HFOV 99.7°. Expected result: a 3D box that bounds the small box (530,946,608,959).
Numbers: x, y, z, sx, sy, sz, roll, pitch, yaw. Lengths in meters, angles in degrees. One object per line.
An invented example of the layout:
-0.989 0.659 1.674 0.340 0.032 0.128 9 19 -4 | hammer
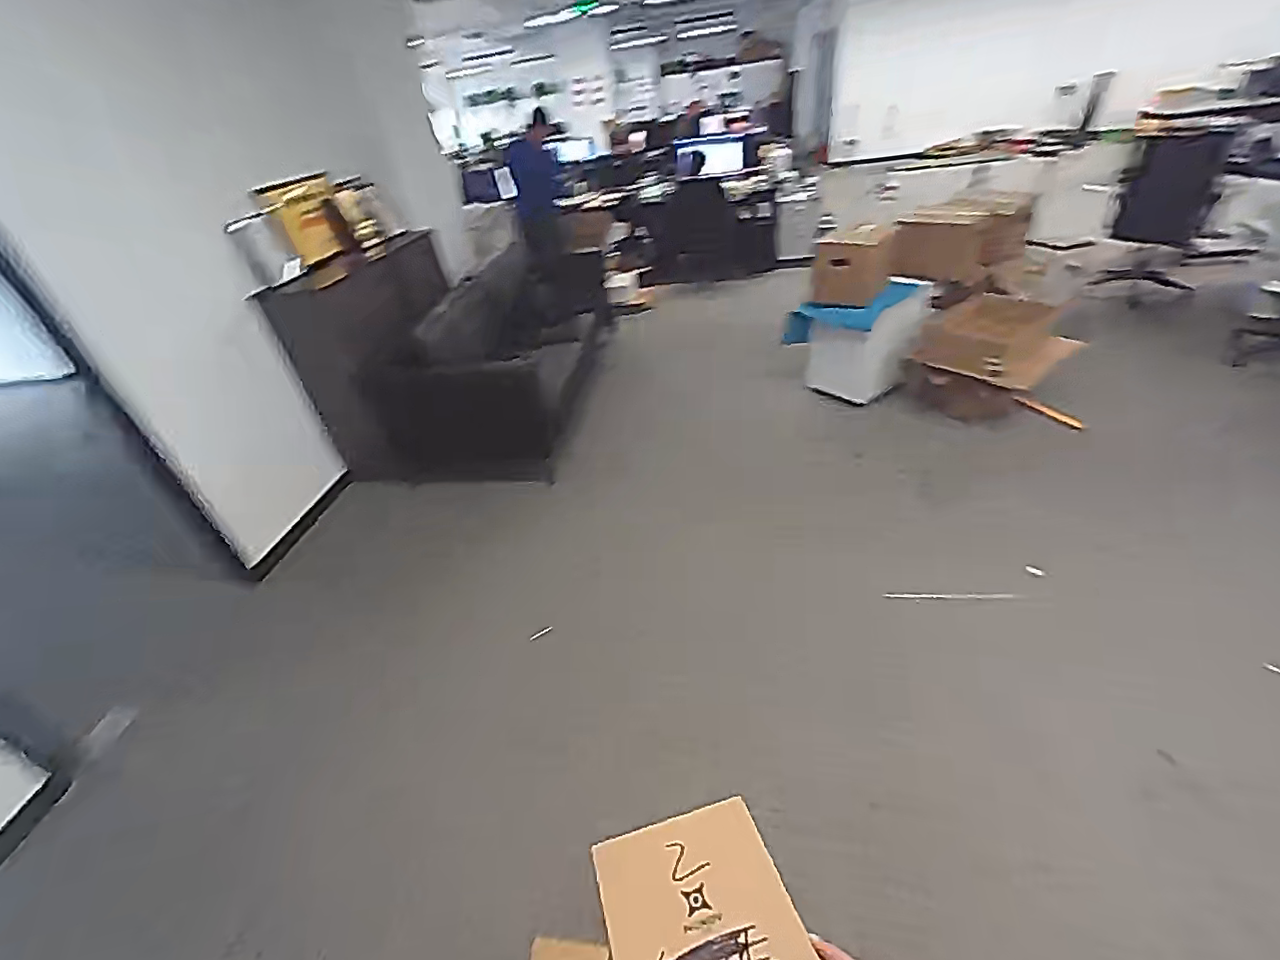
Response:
-0.154 1.148 1.171 0.179 0.176 0.168 -2 36 10 | small box
